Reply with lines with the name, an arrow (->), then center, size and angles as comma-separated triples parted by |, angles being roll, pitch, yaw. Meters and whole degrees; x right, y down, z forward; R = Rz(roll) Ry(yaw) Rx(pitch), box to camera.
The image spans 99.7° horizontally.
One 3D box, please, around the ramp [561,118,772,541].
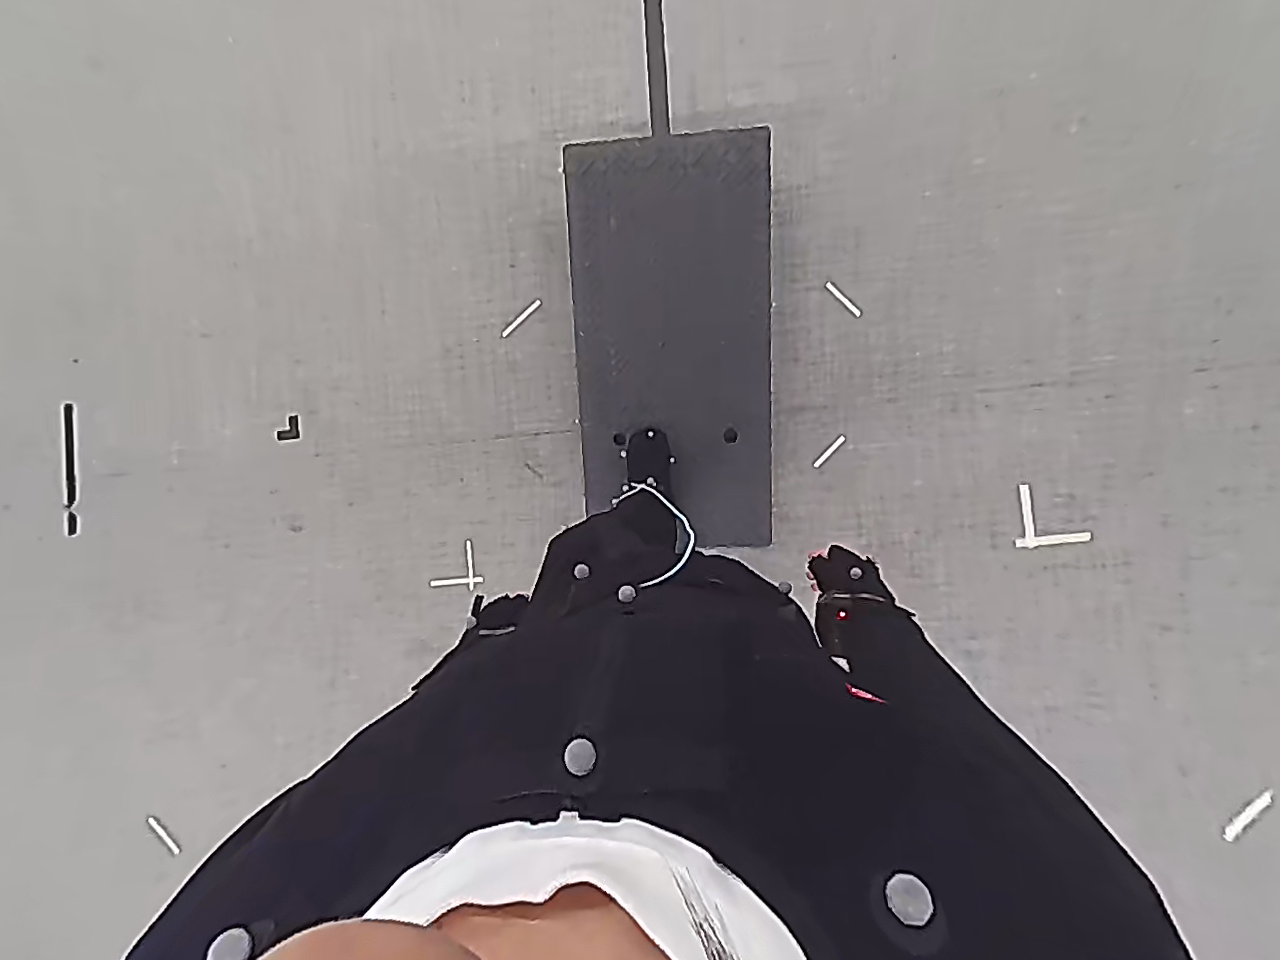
ramp -> 0.081, -0.332, 1.356 | 0.509, 0.206, 0.991 | -3, 91, 5
